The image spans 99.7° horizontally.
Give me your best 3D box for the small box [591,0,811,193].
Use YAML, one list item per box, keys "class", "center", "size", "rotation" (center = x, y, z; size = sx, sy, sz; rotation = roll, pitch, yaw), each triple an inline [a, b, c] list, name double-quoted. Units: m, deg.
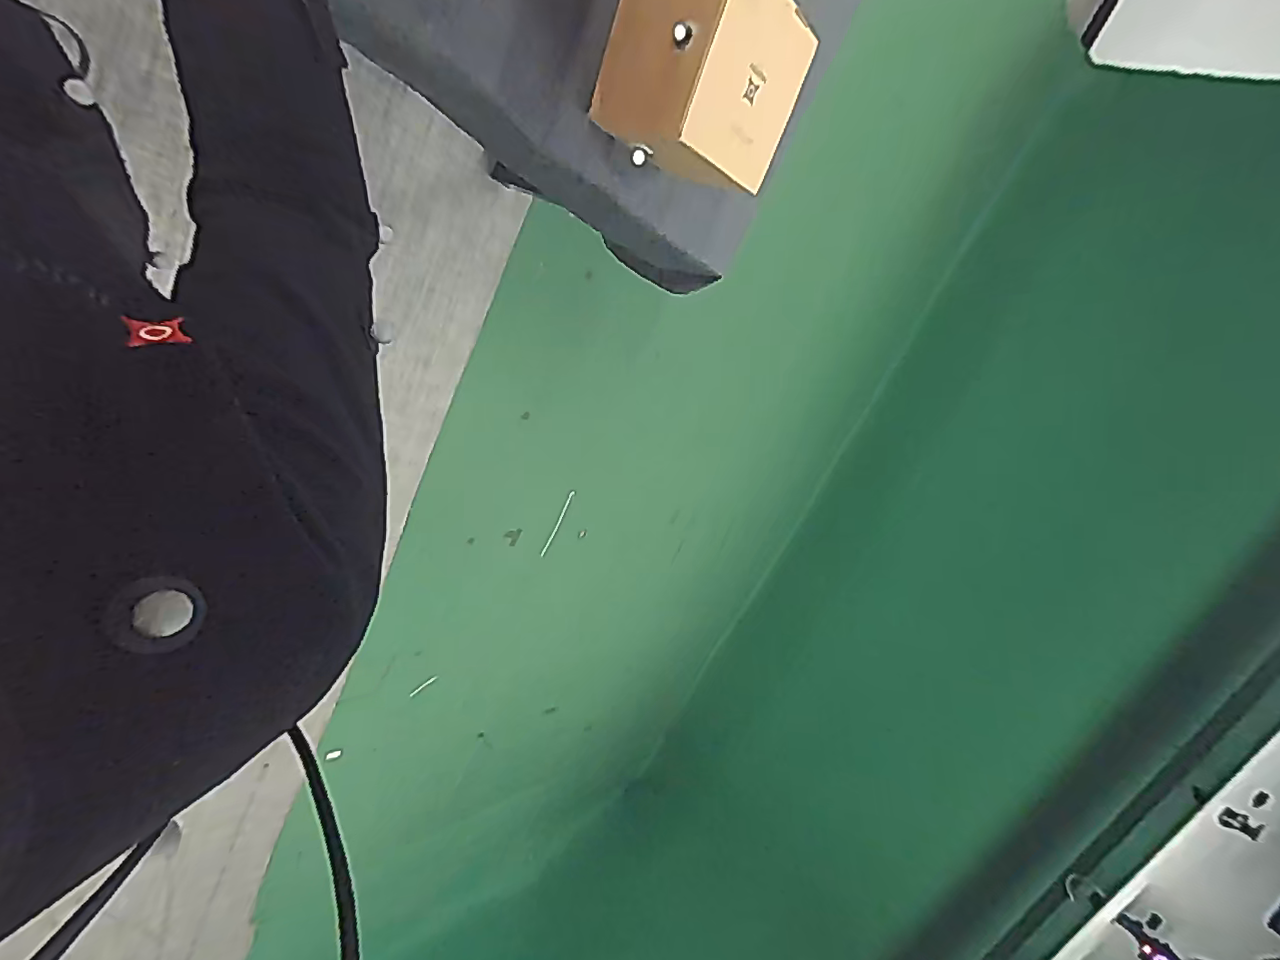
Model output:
- class: "small box"
  center: [0.066, -0.480, 0.649]
  size: [0.168, 0.176, 0.179]
  rotation: [-3, 123, -49]
